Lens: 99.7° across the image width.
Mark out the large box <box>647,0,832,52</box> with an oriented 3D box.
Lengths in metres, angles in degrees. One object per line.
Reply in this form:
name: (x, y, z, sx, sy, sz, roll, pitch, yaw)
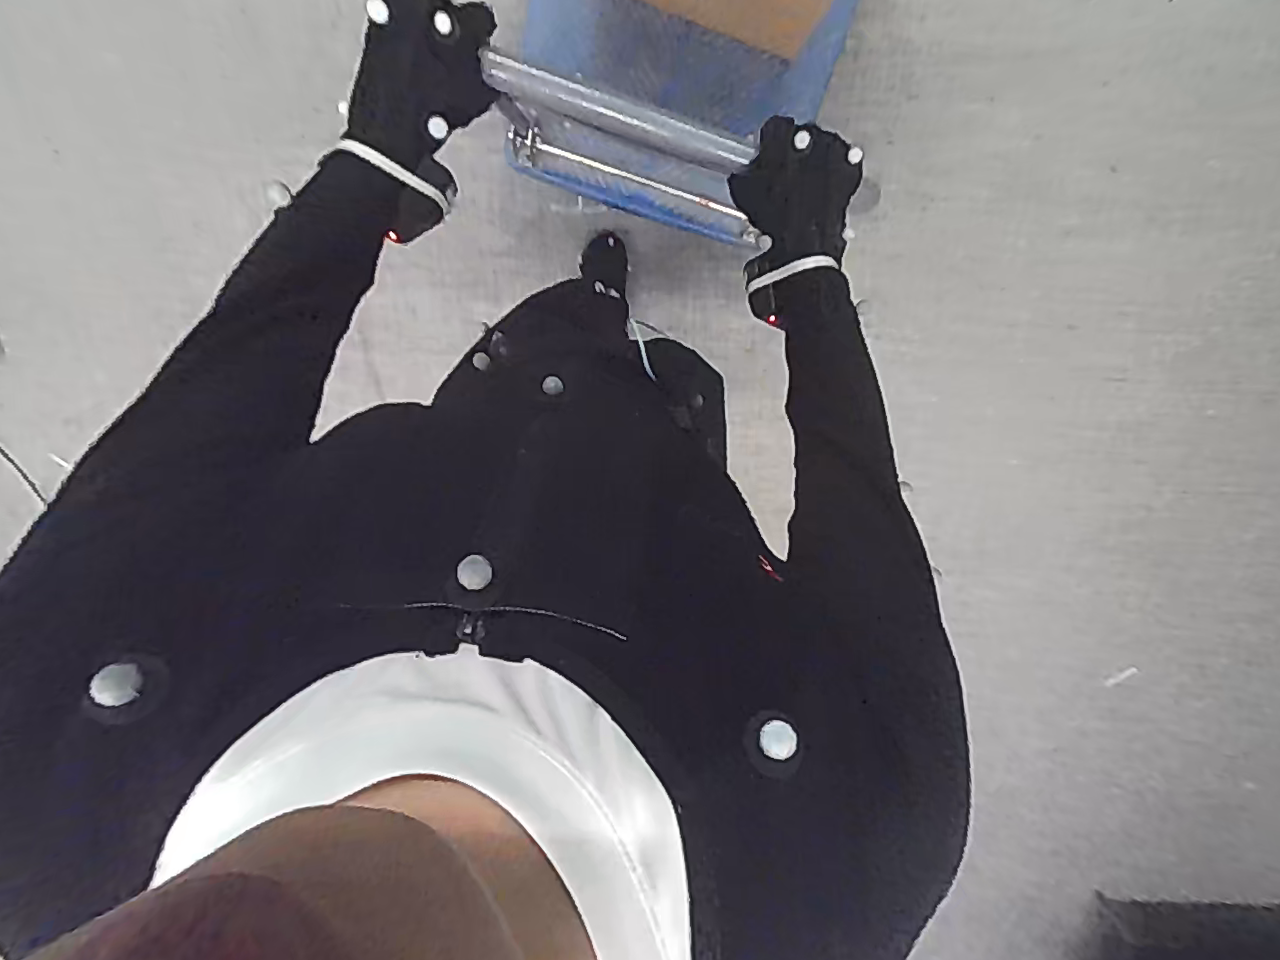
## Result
large box: (0.152, -0.950, 0.826, 0.408, 0.320, 0.320, 17, 107, -4)
